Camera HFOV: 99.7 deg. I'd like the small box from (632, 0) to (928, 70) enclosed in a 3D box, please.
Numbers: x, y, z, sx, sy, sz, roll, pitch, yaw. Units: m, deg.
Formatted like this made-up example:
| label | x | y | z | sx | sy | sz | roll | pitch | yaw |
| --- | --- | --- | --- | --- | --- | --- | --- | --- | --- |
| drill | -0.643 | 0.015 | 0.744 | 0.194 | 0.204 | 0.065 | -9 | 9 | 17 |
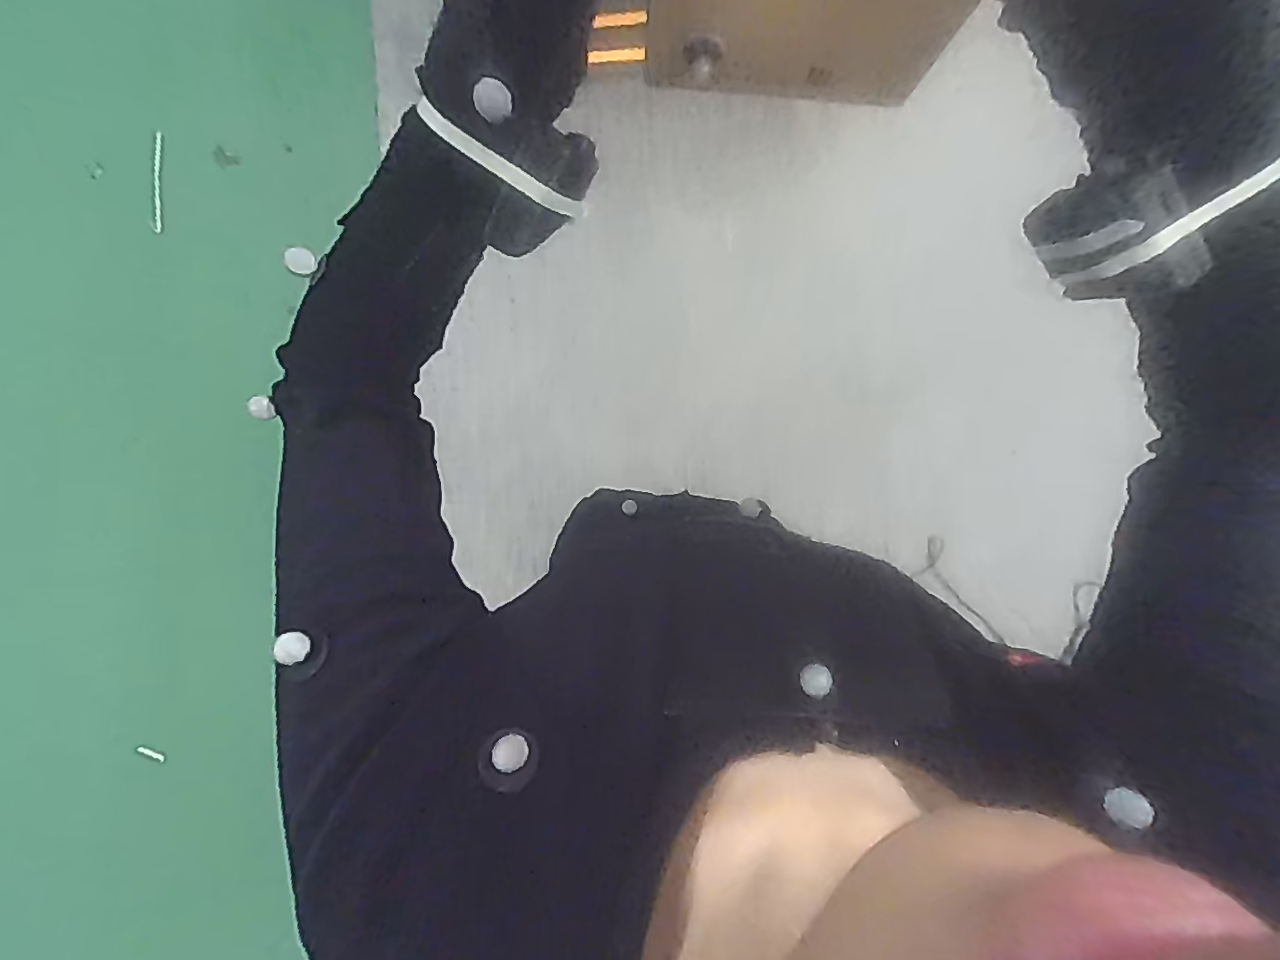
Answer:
| label | x | y | z | sx | sy | sz | roll | pitch | yaw |
| --- | --- | --- | --- | --- | --- | --- | --- | --- | --- |
| small box | 0.082 | -0.341 | 0.256 | 0.168 | 0.176 | 0.179 | 4 | 88 | -1 |
